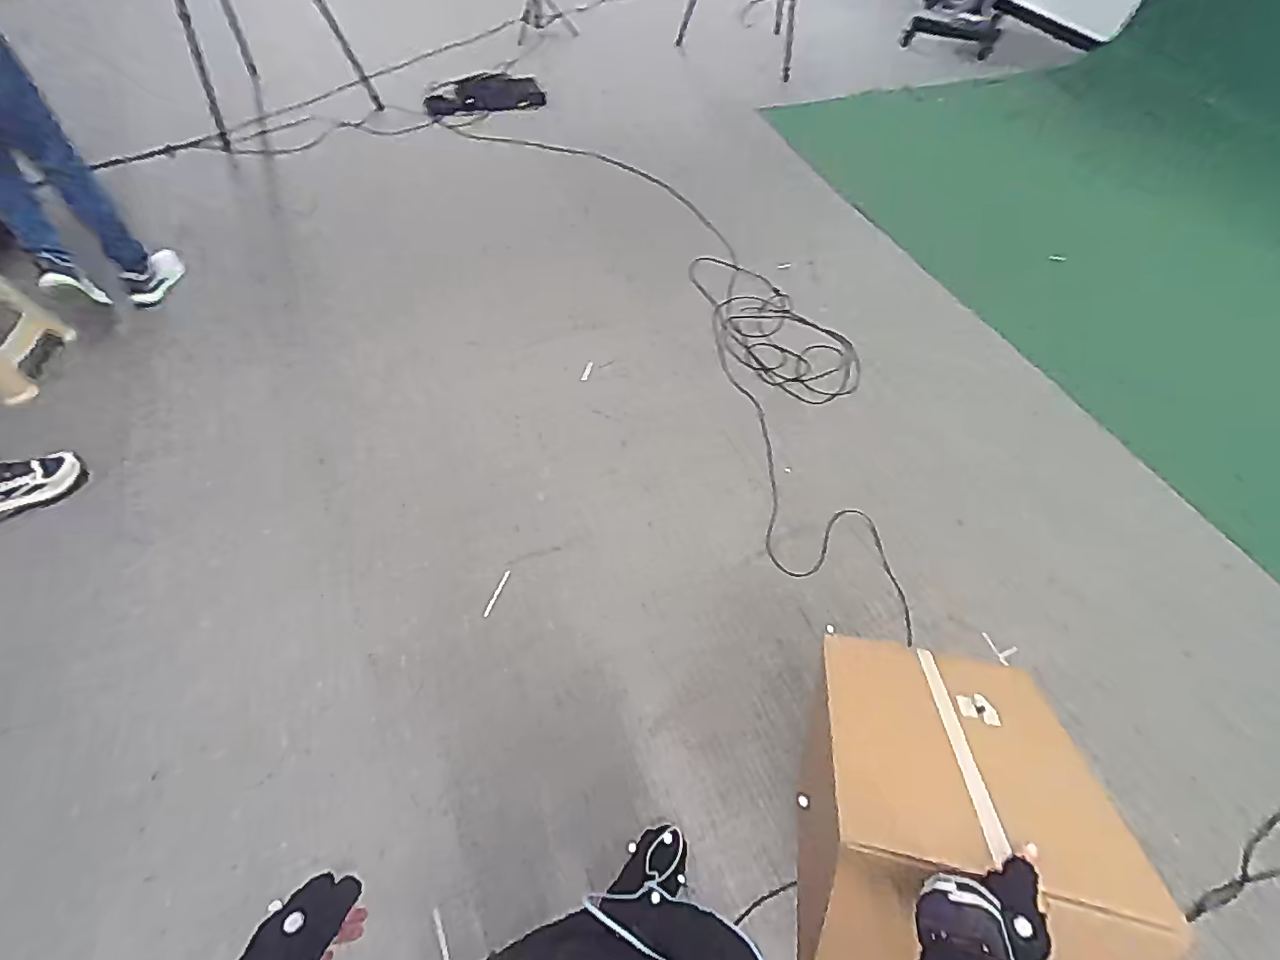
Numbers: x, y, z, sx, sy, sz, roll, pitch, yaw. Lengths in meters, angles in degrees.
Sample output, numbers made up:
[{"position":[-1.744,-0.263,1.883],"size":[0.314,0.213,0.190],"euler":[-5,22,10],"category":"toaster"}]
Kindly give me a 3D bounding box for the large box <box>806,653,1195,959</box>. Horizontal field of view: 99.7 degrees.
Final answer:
[{"position":[0.412,0.514,0.756],"size":[0.320,0.320,0.408],"euler":[9,17,14],"category":"large box"}]
